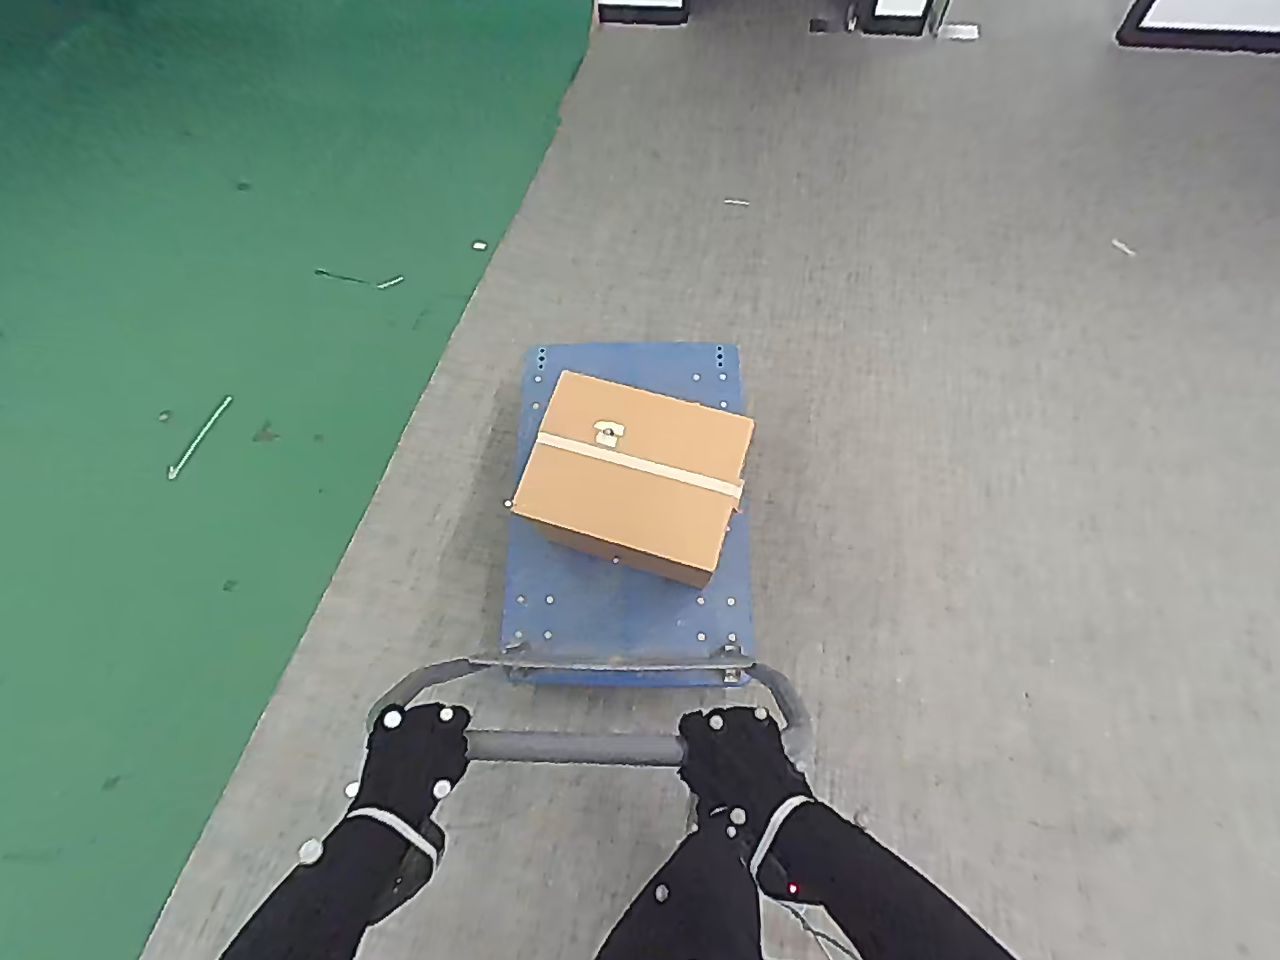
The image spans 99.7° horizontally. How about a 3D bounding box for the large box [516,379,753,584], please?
[{"bbox_3d":[0.006,0.019,1.182,0.408,0.320,0.320,15,75,9],"label":"large box"}]
